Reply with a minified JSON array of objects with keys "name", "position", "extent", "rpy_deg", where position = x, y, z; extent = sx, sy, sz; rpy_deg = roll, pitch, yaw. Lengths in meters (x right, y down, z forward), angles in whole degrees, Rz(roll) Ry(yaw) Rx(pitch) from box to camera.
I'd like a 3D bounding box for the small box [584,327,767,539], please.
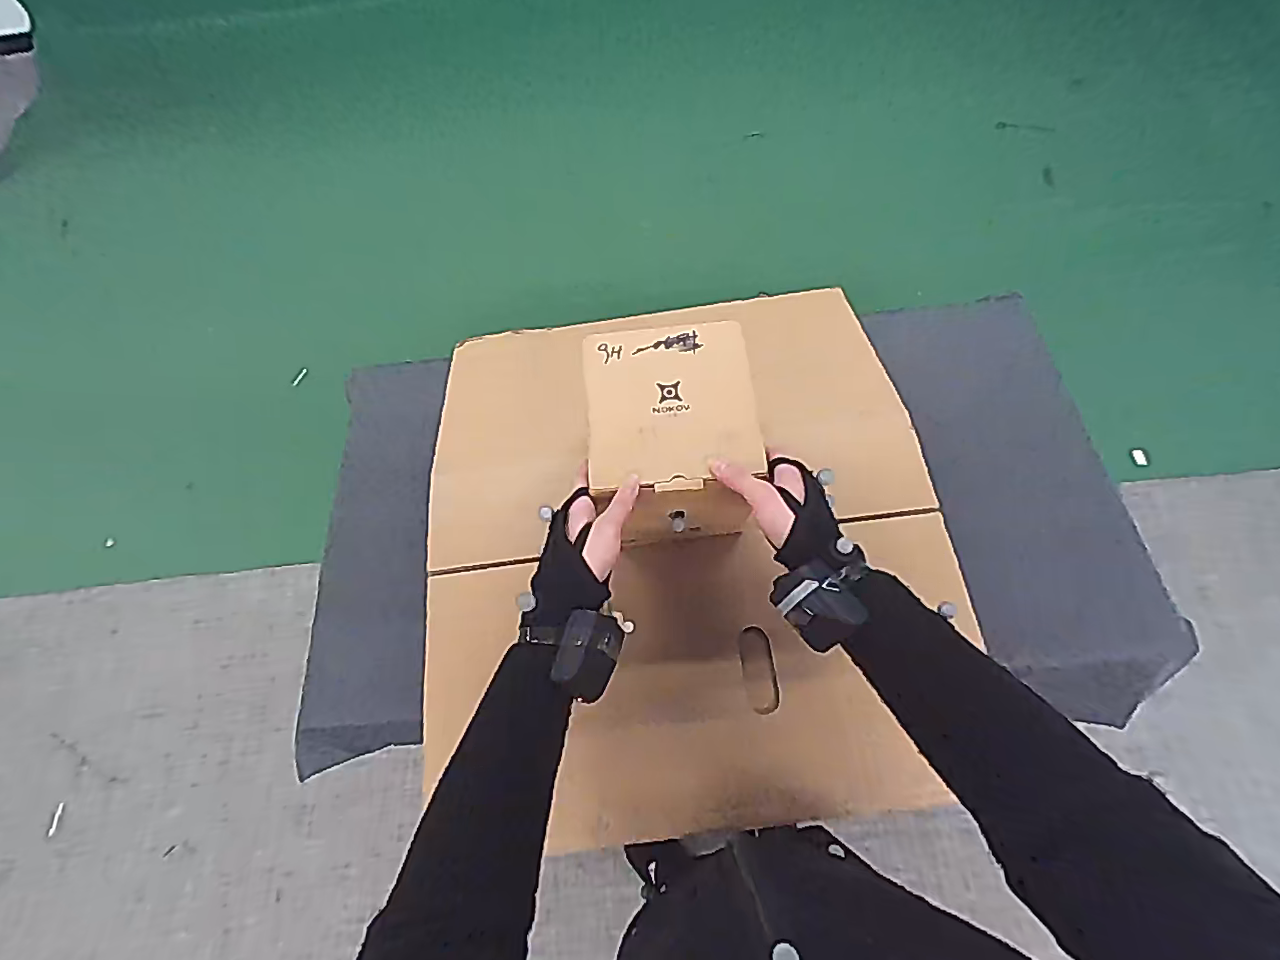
[{"name":"small box","position":[0.036,-0.040,0.605],"extent":[0.168,0.176,0.179],"rpy_deg":[-8,67,1]}]
